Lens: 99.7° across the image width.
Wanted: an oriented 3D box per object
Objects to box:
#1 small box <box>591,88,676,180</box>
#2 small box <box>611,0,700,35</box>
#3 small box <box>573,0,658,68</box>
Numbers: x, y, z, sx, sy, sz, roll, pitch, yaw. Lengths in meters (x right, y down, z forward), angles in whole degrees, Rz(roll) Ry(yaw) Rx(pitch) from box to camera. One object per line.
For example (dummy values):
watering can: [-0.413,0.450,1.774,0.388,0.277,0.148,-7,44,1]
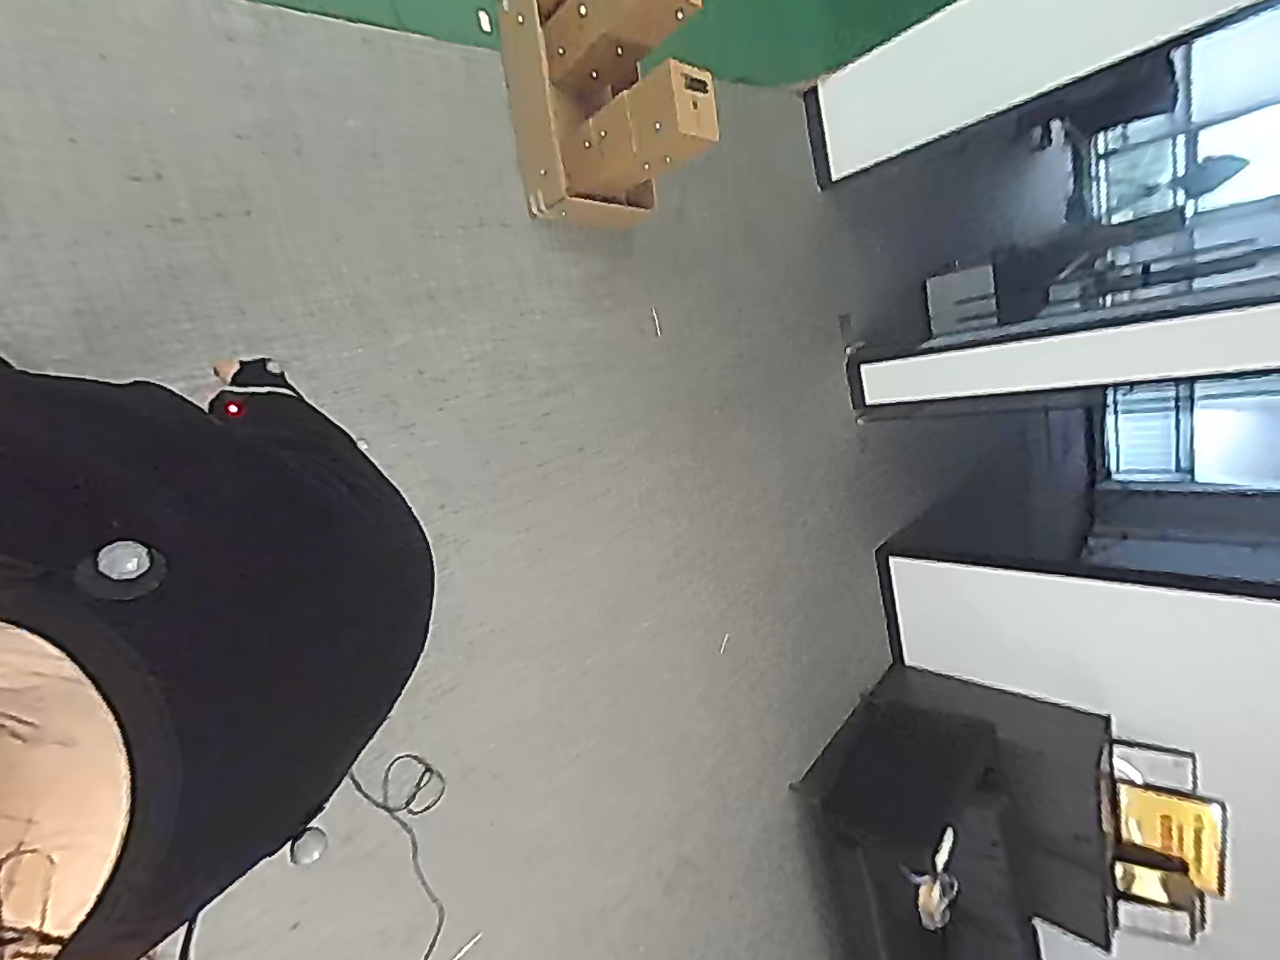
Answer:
small box: [-0.020,-1.020,1.613,0.179,0.176,0.168,-17,102,-39]
small box: [0.035,-1.334,1.433,0.179,0.176,0.168,-14,102,-40]
small box: [-0.071,-1.336,1.559,0.179,0.176,0.168,-12,100,-40]
